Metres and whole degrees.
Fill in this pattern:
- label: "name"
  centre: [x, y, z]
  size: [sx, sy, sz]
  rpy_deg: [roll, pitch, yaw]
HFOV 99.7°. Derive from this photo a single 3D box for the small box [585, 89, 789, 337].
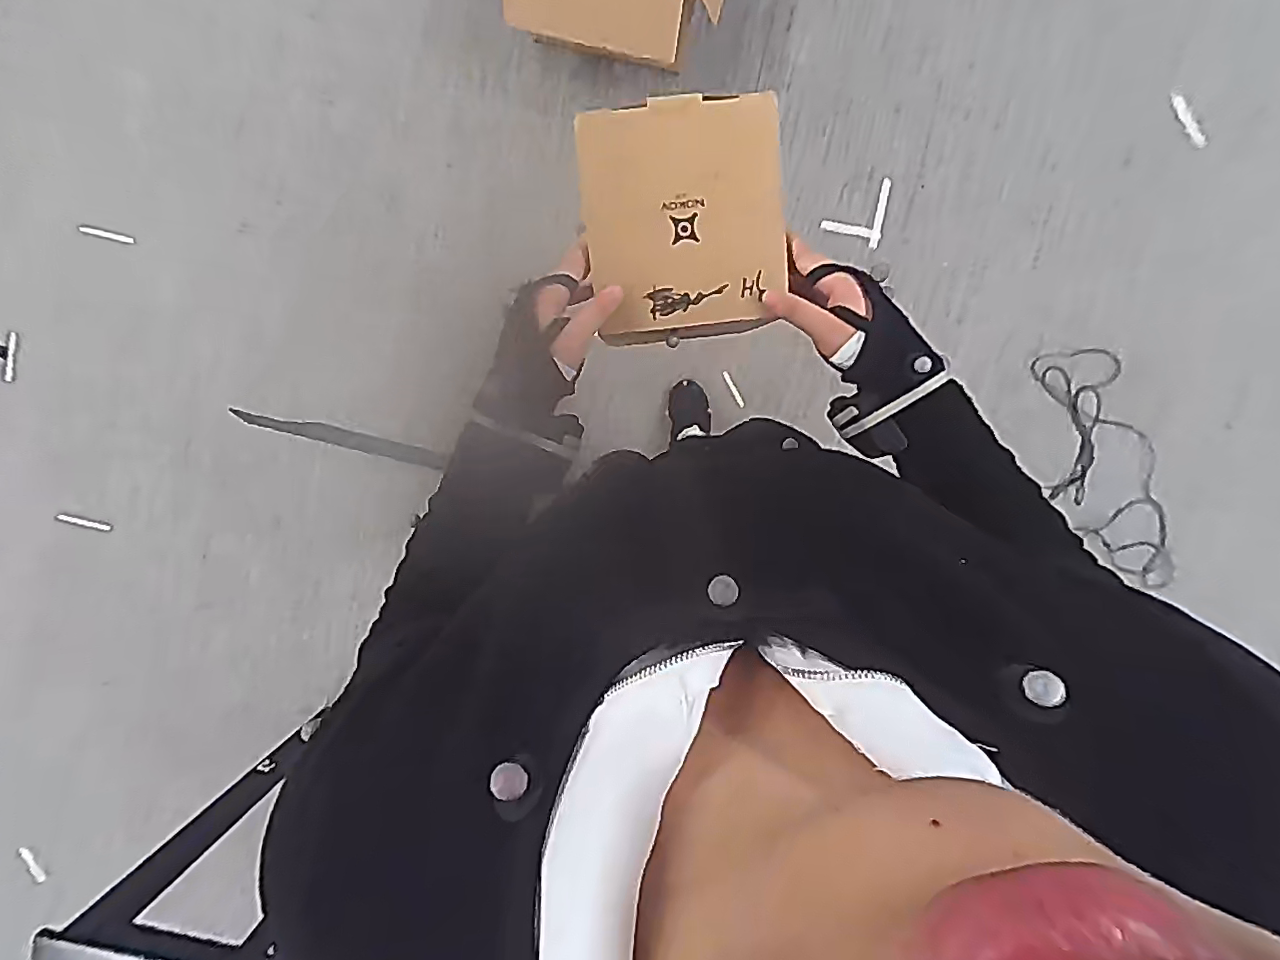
- label: "small box"
  centre: [0.040, -0.241, 0.532]
  size: [0.168, 0.176, 0.179]
  rpy_deg: [-5, 102, 1]
